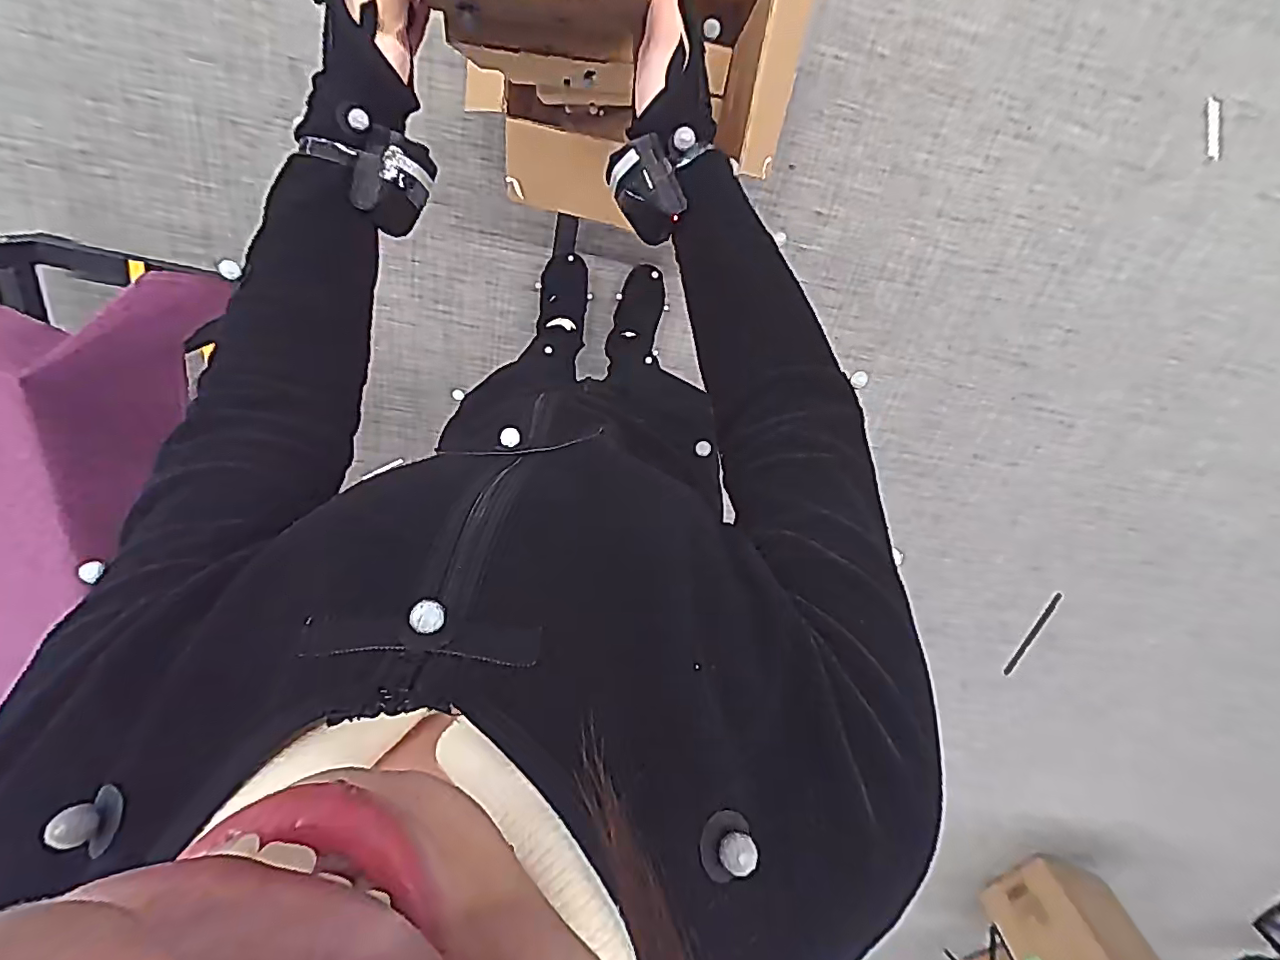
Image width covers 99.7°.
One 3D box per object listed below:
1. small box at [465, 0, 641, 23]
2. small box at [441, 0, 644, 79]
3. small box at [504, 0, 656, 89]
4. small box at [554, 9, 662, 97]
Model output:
[{"bbox_3d":[-0.068,-0.405,0.320,0.168,0.176,0.179,1,118,-7],"label":"small box"},{"bbox_3d":[-0.077,-0.474,0.474,0.168,0.176,0.179,2,121,-8],"label":"small box"},{"bbox_3d":[-0.073,-0.558,0.615,0.179,0.176,0.168,2,122,-7],"label":"small box"},{"bbox_3d":[-0.067,-0.745,0.887,0.179,0.176,0.168,-11,122,0],"label":"small box"}]
